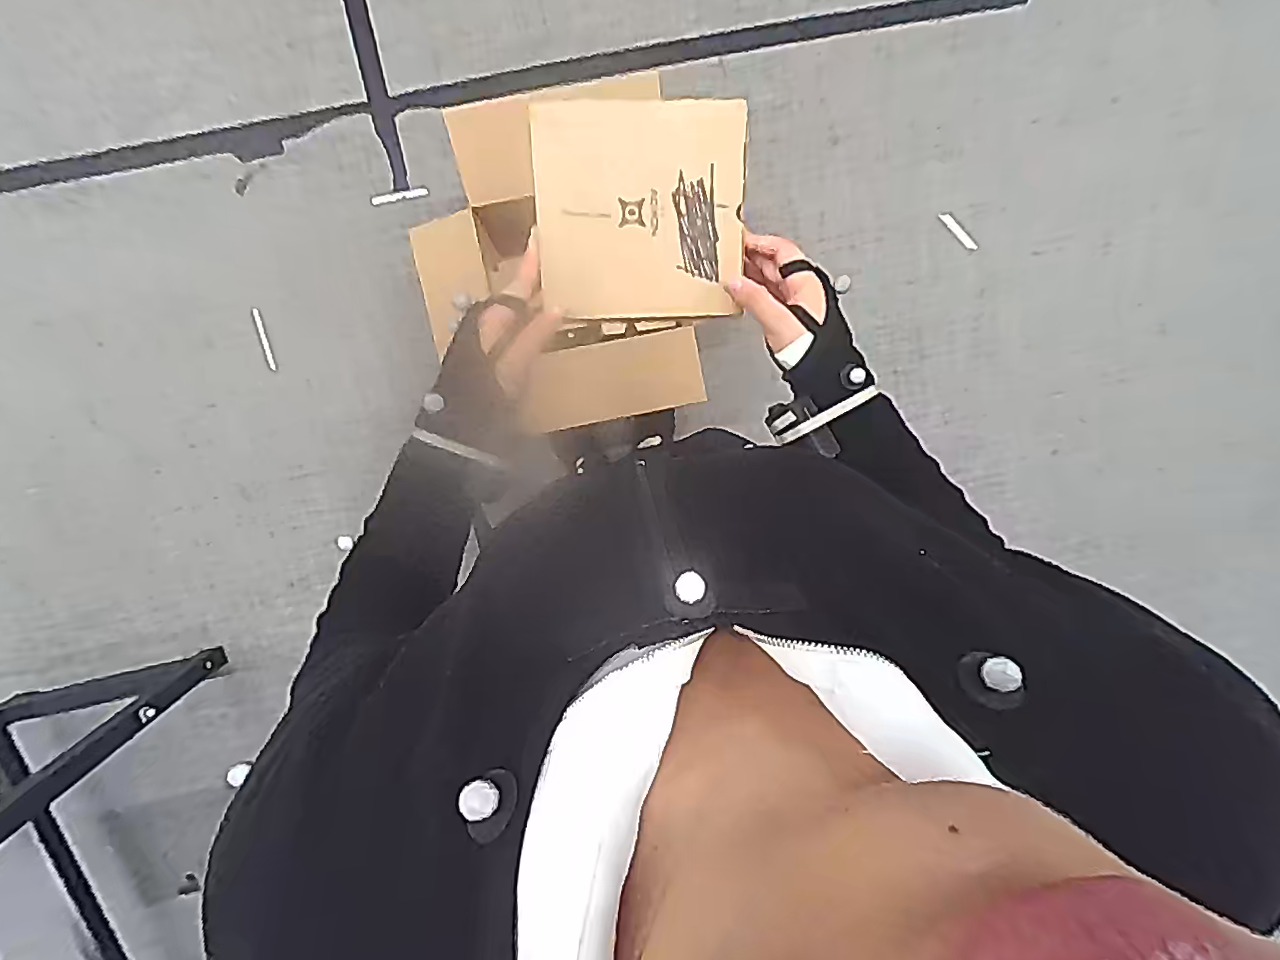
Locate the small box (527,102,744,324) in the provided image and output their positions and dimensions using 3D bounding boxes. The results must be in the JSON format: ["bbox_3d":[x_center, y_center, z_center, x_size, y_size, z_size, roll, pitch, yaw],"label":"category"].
[{"bbox_3d":[-0.006,-0.240,0.525,0.179,0.176,0.168,-2,105,-2],"label":"small box"}]
